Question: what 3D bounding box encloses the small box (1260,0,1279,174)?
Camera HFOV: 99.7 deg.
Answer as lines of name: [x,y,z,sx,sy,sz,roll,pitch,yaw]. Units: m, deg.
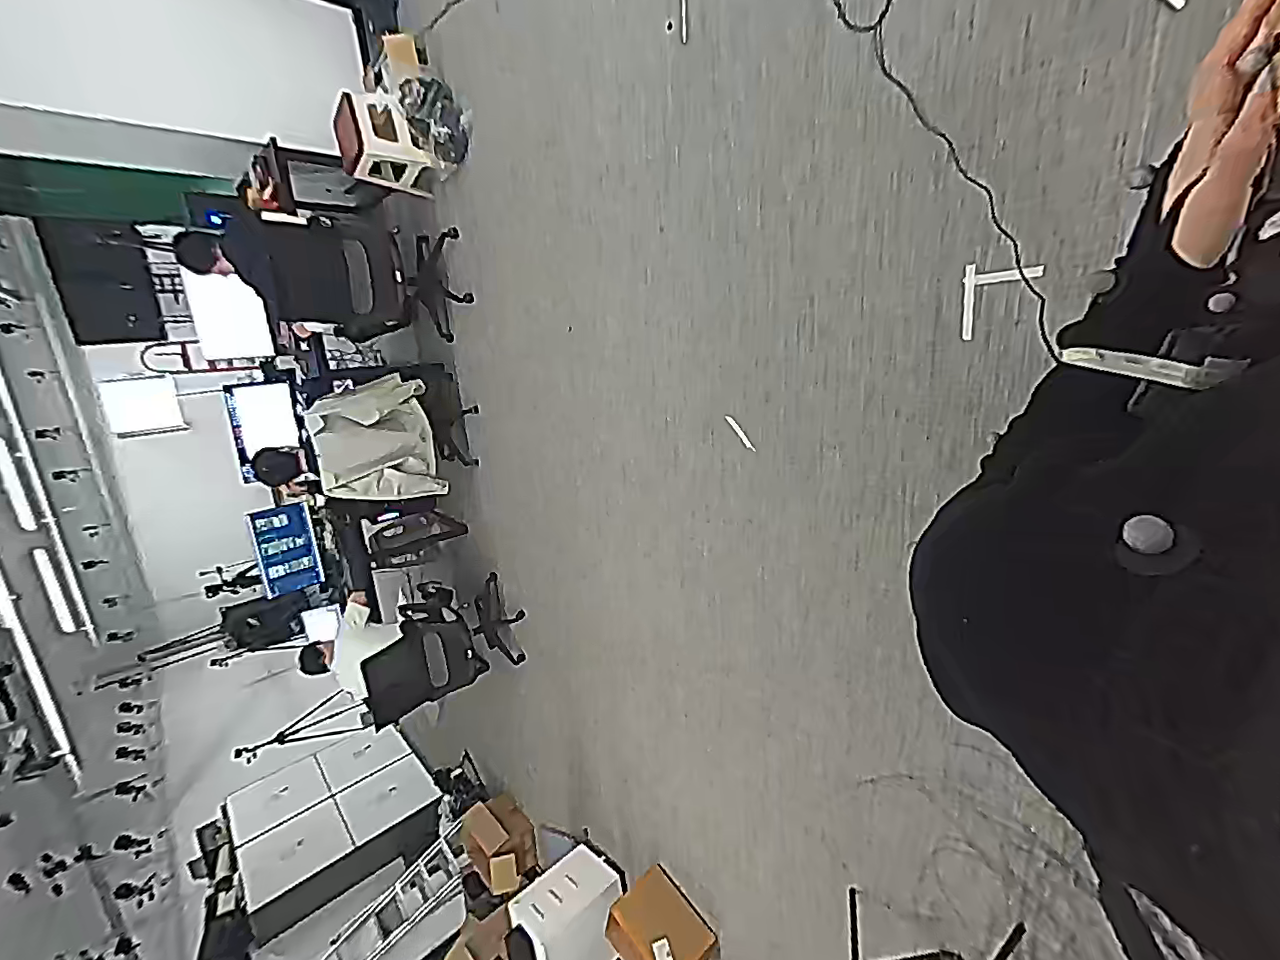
small box: [0.405,-0.266,0.239,0.168,0.176,0.179,1,98,48]
